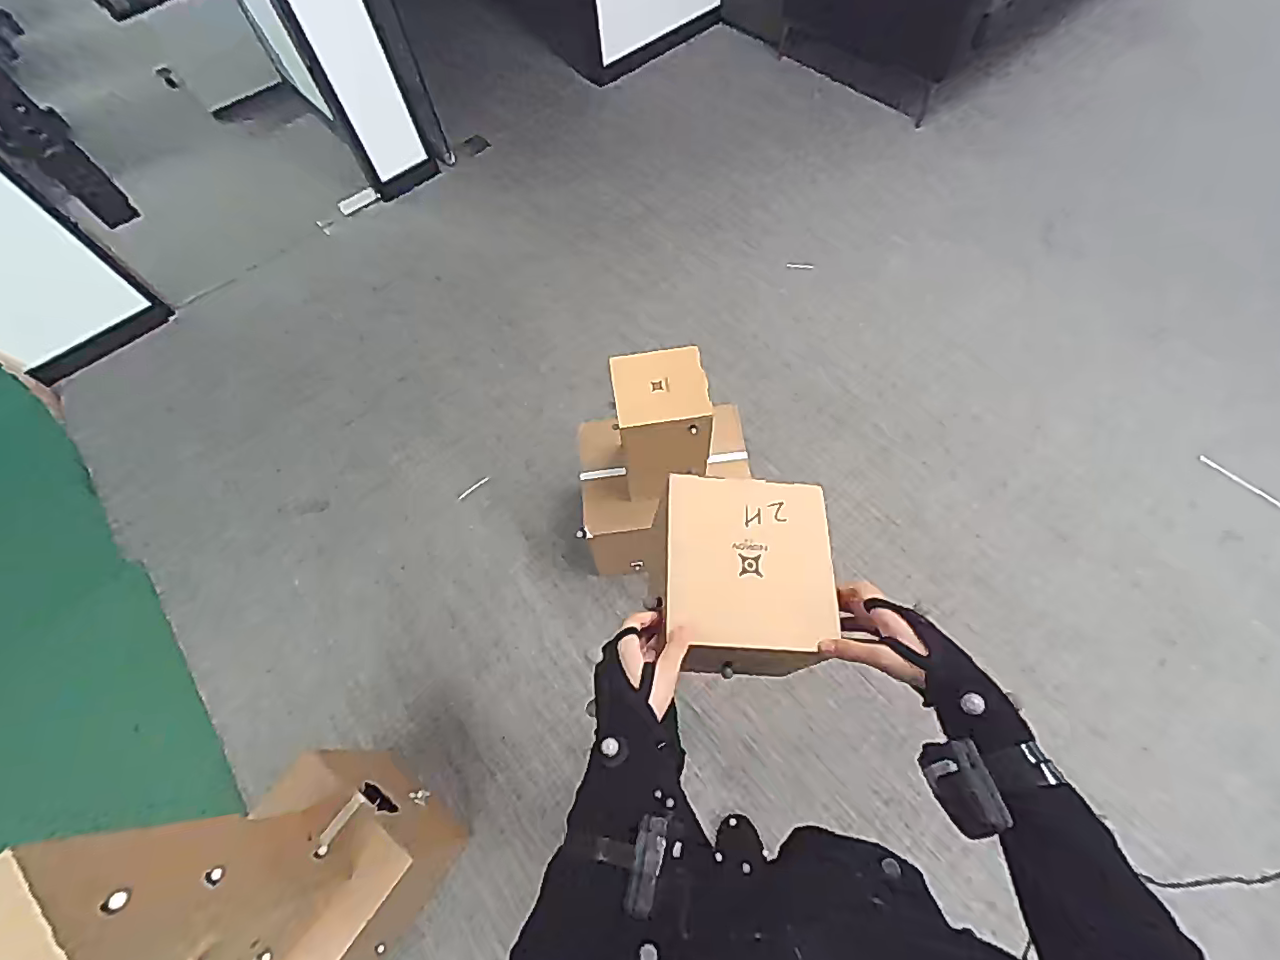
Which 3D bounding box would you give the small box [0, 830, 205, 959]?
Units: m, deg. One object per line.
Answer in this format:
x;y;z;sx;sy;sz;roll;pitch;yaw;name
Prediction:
-0.647;0.525;0.598;0.179;0.176;0.168;36;70;18;small box

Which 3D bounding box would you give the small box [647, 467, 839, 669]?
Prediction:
0.100;0.106;0.598;0.168;0.176;0.179;5;63;-4;small box

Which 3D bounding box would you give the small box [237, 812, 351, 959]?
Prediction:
-0.624;0.682;0.885;0.168;0.176;0.179;35;70;18;small box

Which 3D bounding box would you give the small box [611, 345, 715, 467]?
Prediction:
0.045;-0.139;1.073;0.179;0.176;0.168;-8;63;-1;small box

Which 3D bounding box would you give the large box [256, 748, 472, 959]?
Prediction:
-0.623;0.815;1.092;0.320;0.320;0.408;31;70;20;large box
